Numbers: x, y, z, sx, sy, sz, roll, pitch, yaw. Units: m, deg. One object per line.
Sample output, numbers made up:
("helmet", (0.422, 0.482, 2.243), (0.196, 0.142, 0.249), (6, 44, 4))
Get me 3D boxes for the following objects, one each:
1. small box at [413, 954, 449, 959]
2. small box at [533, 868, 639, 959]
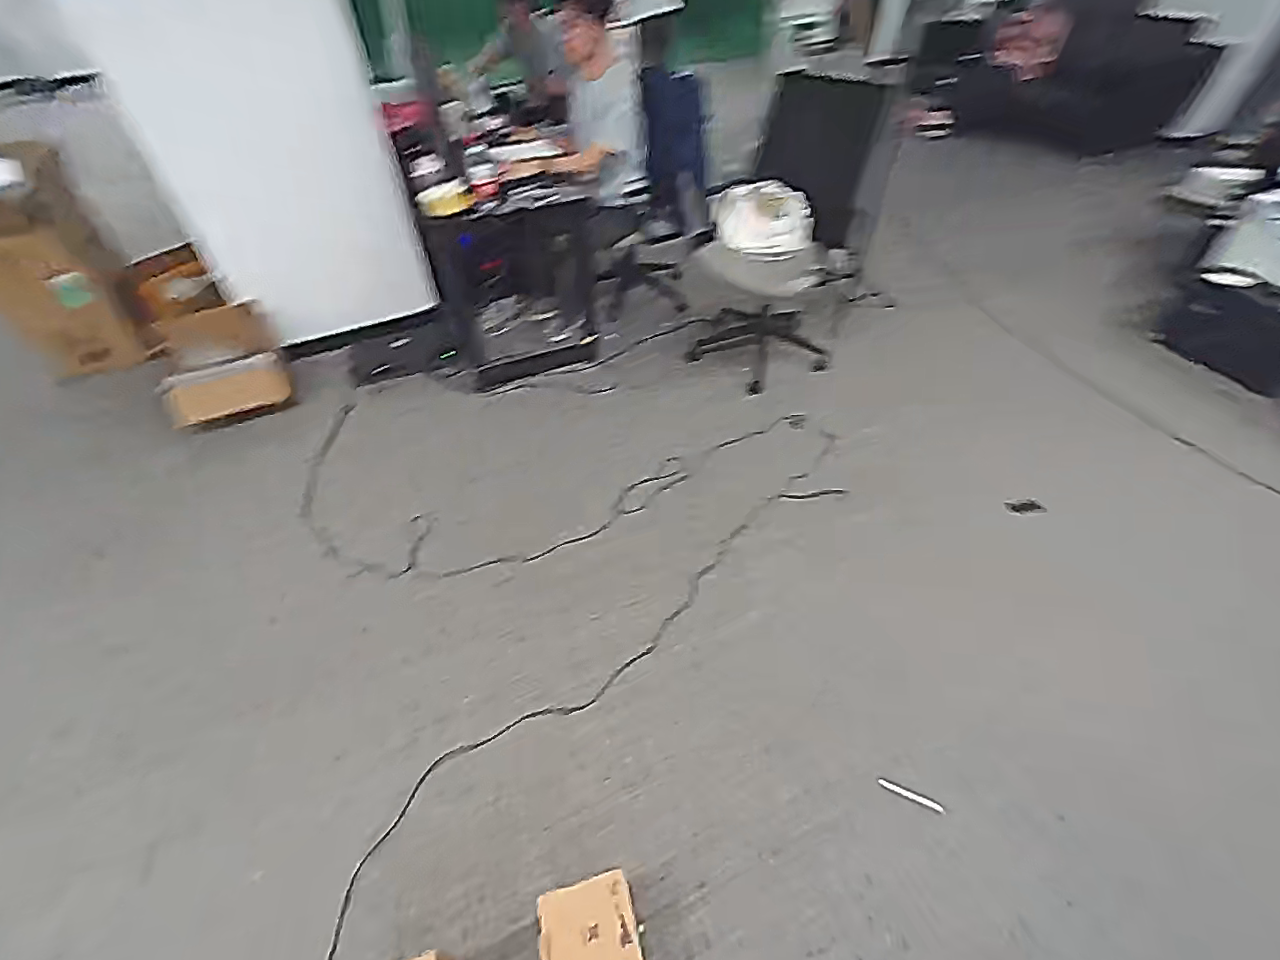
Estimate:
("small box", (-0.431, 1.001, 0.980), (0.168, 0.176, 0.179), (-13, 47, -12))
("small box", (-0.102, 0.902, 1.066), (0.179, 0.176, 0.168), (-12, 47, -10))
